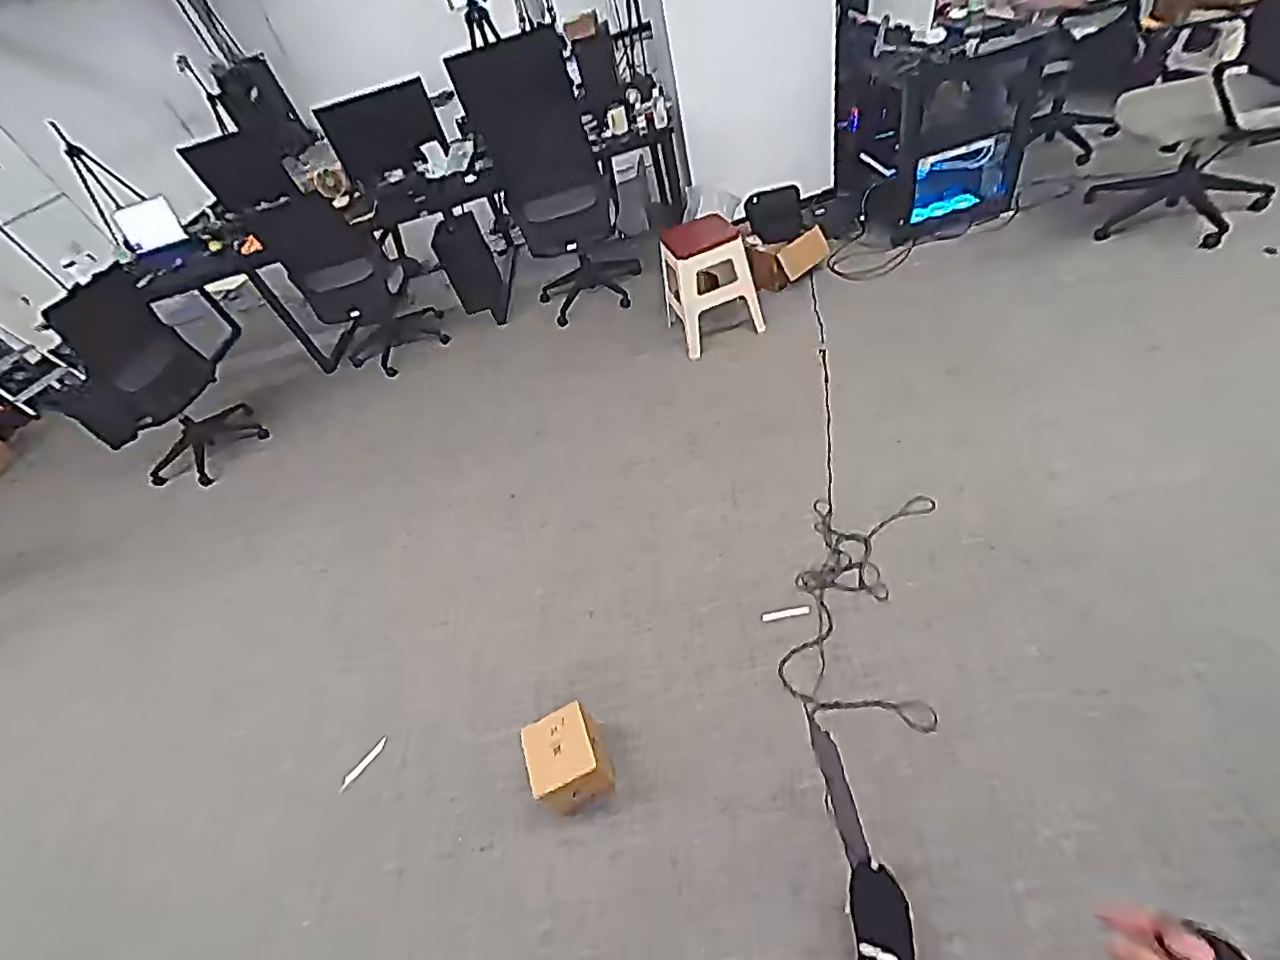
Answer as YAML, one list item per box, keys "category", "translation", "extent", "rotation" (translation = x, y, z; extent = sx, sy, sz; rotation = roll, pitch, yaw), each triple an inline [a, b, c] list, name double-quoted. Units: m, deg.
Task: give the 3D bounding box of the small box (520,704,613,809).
- category: "small box"
  translation: [-0.184, 0.714, 1.383]
  extent: [0.168, 0.176, 0.179]
  rotation: [-25, 45, -4]
